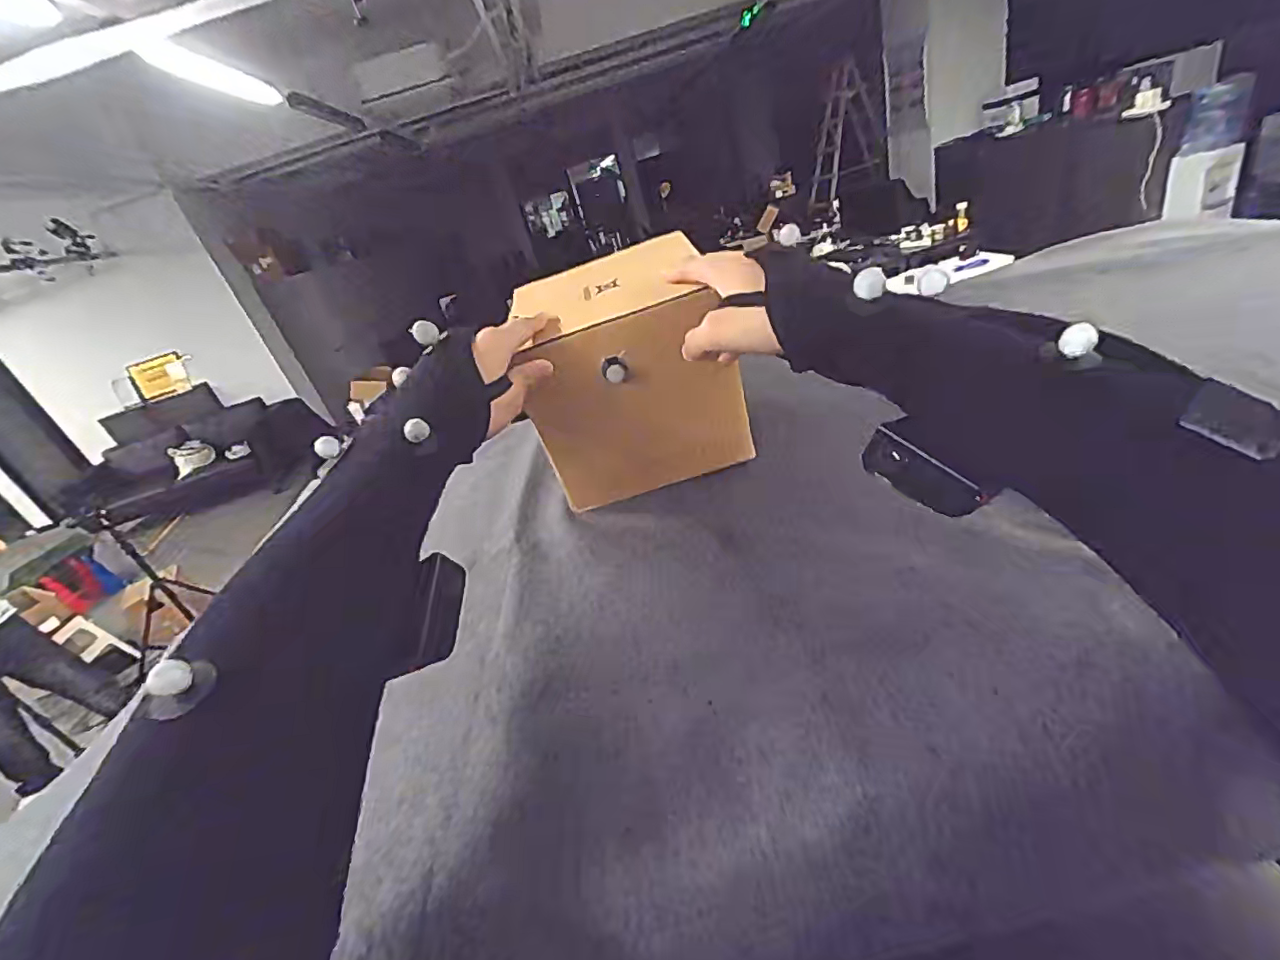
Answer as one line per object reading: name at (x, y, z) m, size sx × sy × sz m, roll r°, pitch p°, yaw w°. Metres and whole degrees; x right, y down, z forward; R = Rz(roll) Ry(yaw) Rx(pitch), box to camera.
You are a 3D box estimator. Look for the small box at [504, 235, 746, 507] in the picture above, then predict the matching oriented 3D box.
small box at (-0.006, -0.102, 0.509) m, size 0.179 × 0.176 × 0.168 m, roll -17°, pitch 36°, yaw 5°
